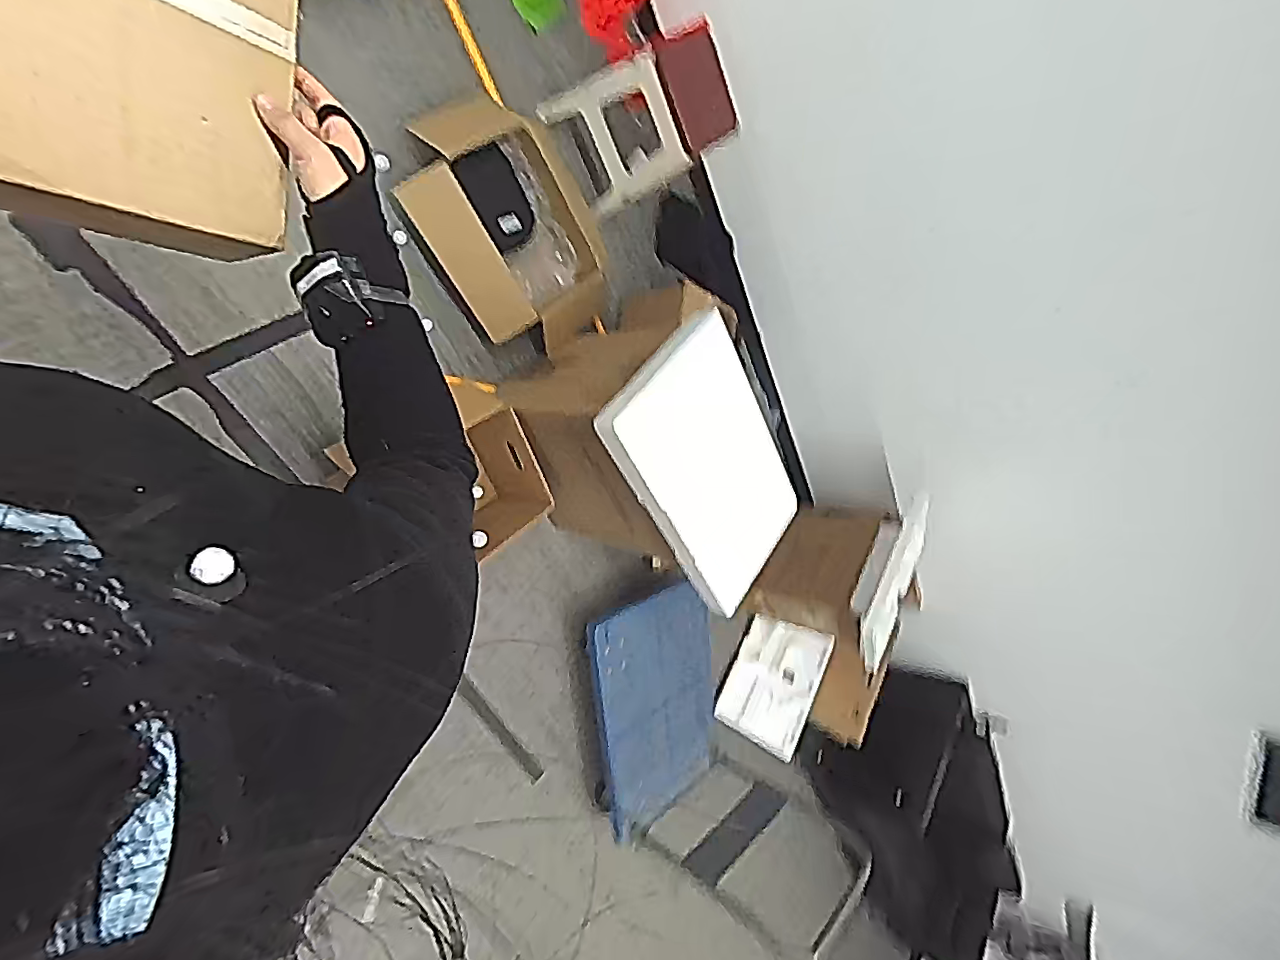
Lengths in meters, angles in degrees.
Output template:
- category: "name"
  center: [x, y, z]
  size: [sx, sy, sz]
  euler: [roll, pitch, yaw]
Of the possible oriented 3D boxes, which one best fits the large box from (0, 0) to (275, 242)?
- category: "large box"
  center: [-0.544, -0.395, 0.412]
  size: [0.408, 0.320, 0.320]
  euler: [-2, 105, -44]
